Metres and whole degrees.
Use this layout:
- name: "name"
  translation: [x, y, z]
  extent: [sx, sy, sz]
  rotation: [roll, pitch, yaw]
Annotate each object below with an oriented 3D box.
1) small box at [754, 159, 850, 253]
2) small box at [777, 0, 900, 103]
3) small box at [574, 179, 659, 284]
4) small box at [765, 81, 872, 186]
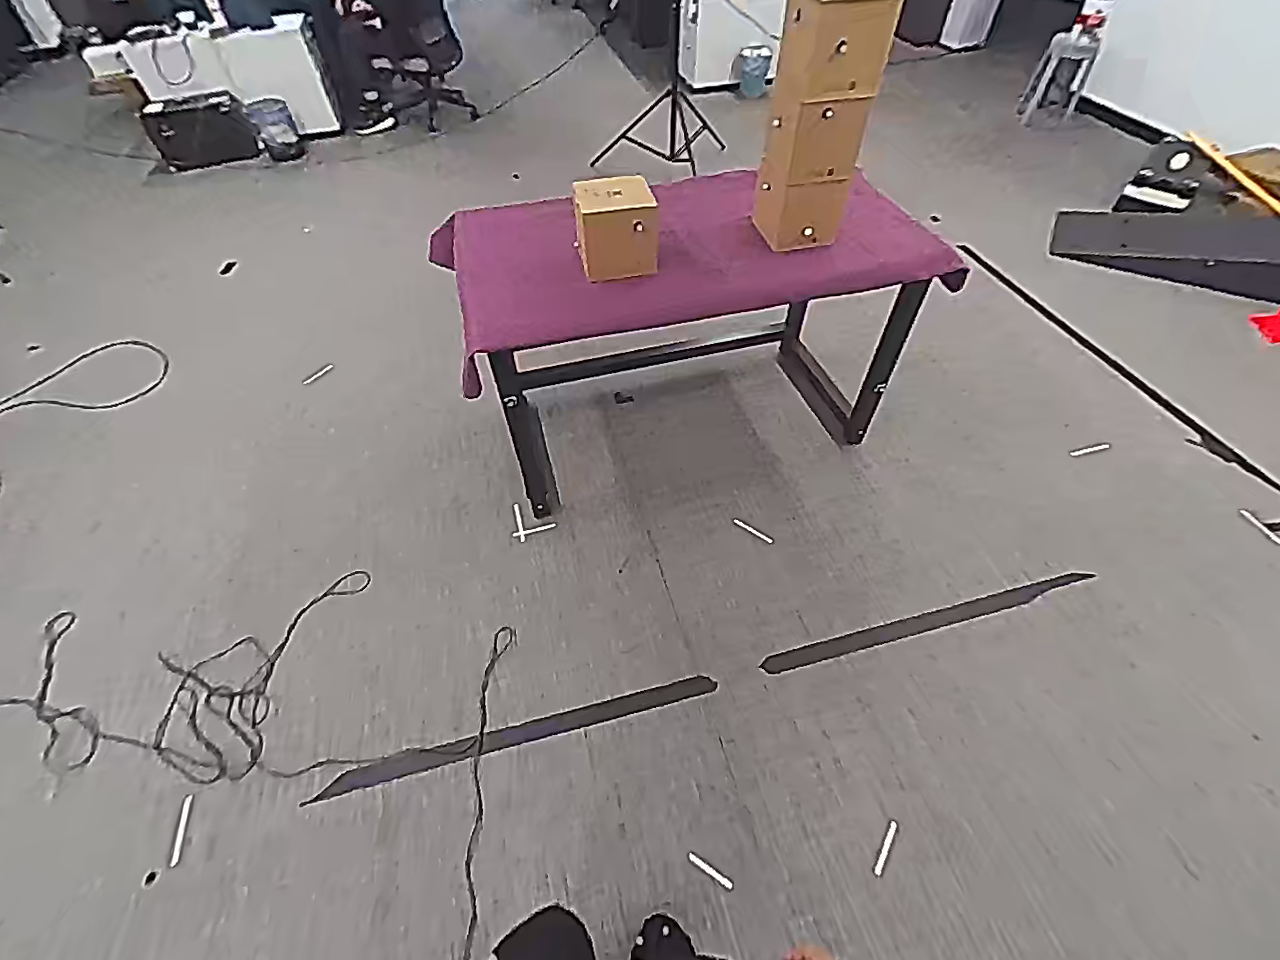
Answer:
- name: "small box"
  translation: [0.403, -0.706, 1.381]
  extent: [0.168, 0.176, 0.179]
  rotation: [-11, 52, -6]
- name: "small box"
  translation: [0.398, -0.901, 1.118]
  extent: [0.168, 0.176, 0.179]
  rotation: [-10, 51, -5]
- name: "small box"
  translation: [-0.057, -0.599, 1.310]
  extent: [0.179, 0.176, 0.168]
  rotation: [-11, 51, -6]
- name: "small box"
  translation: [0.400, -0.804, 1.250]
  extent: [0.168, 0.176, 0.179]
  rotation: [-9, 51, -5]
